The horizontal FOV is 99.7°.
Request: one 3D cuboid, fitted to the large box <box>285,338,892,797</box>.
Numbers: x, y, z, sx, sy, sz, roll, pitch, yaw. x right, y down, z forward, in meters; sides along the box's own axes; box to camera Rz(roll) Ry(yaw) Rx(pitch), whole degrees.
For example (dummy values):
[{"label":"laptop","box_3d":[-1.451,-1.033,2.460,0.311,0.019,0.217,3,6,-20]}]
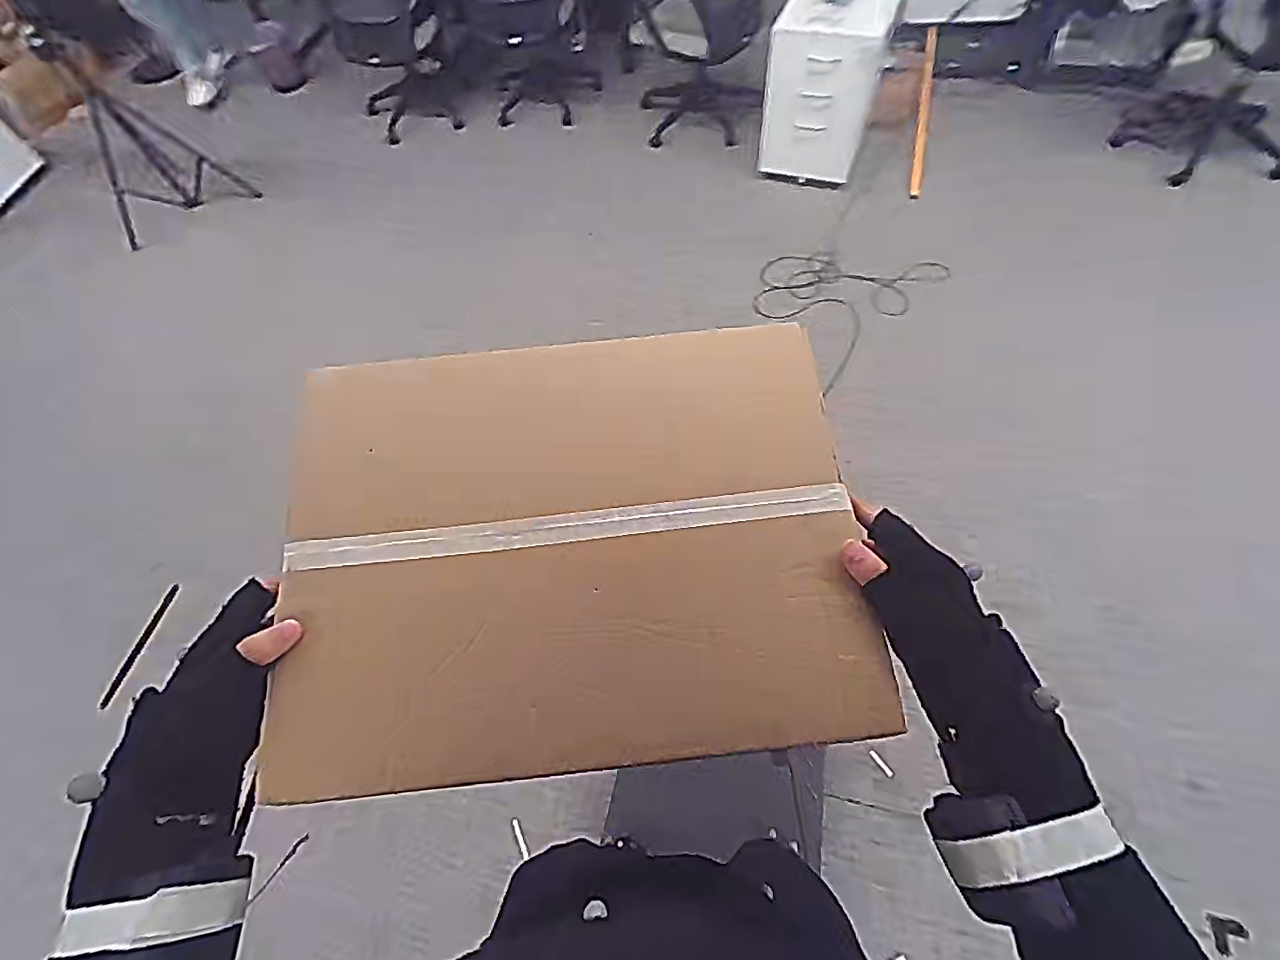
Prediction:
[{"label":"large box","box_3d":[-0.041,0.091,0.539,0.408,0.320,0.320,-5,69,-1]}]
